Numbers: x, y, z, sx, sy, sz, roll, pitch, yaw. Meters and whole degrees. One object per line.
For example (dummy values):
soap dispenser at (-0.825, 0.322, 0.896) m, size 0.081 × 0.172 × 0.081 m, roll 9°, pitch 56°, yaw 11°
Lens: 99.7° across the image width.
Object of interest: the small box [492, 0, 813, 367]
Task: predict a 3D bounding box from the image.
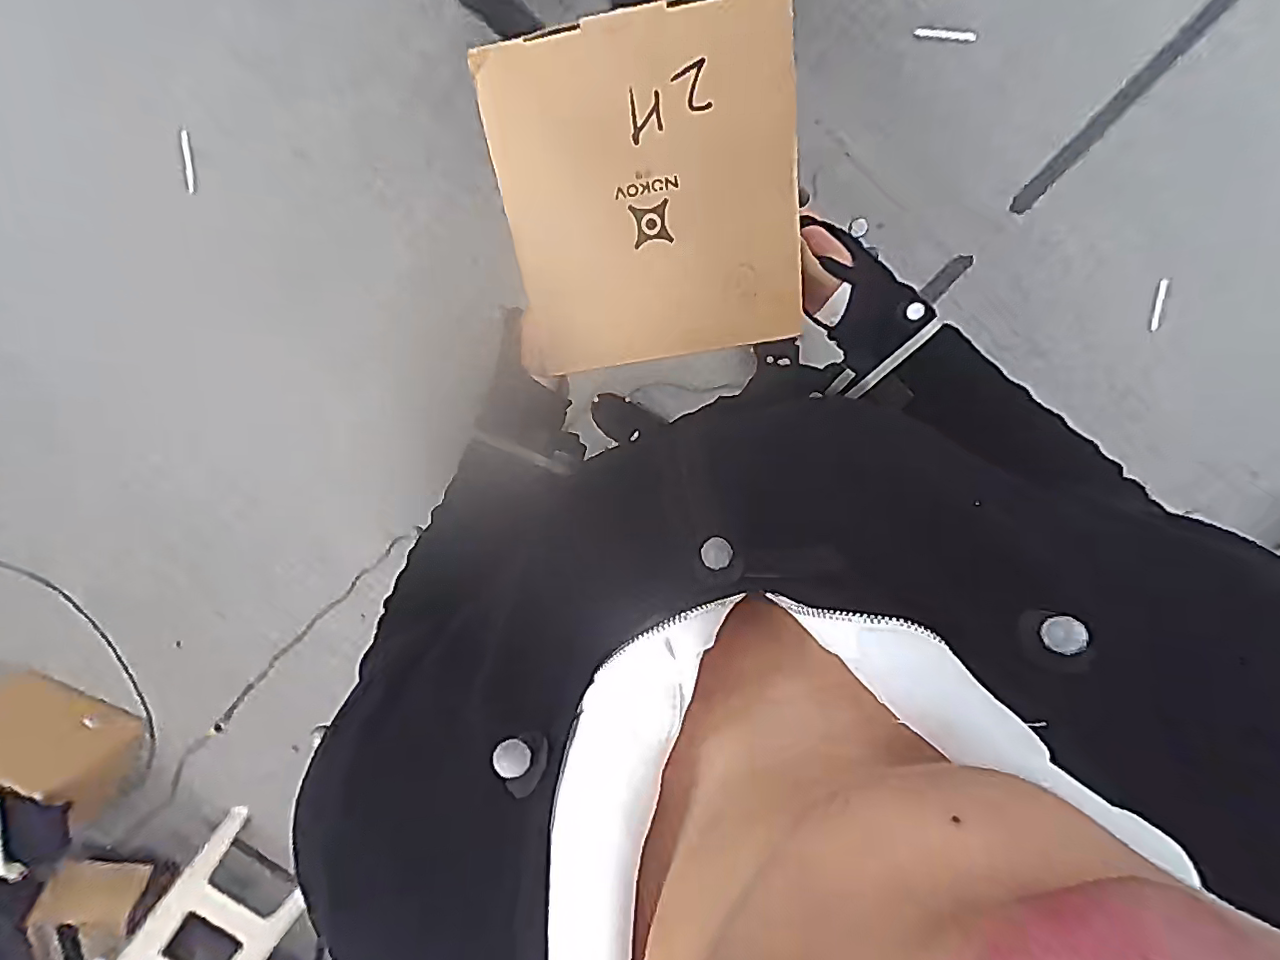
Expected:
small box at (0.018, -0.195, 0.379) m, size 0.168 × 0.176 × 0.179 m, roll -7°, pitch 116°, yaw 5°
